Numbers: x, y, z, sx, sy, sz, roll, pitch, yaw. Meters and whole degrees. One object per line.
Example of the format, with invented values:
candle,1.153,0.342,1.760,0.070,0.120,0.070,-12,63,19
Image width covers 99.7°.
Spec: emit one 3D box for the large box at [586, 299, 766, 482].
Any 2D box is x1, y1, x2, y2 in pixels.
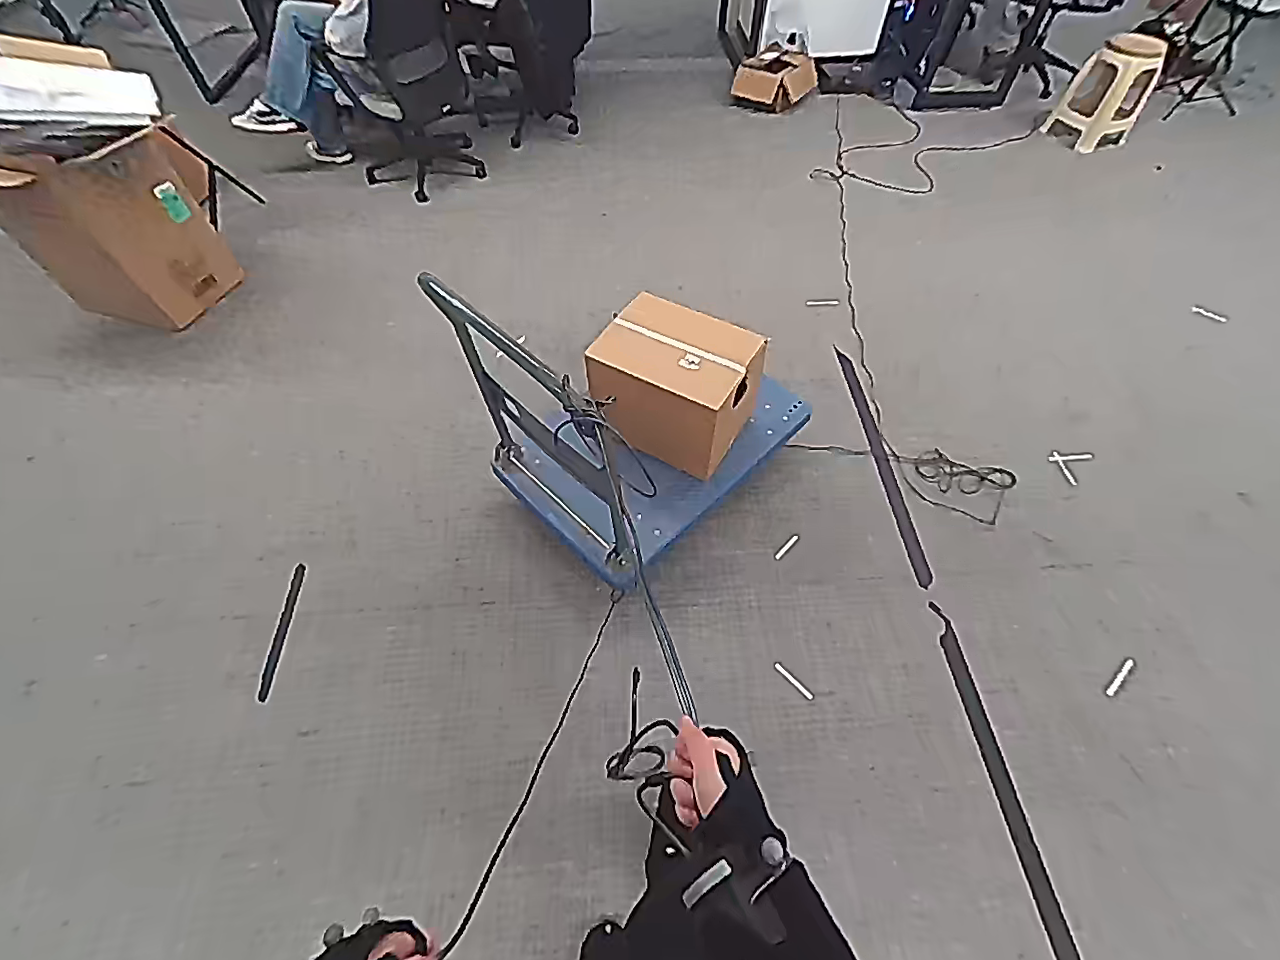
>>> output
large box,0.097,-0.261,1.578,0.408,0.320,0.320,26,60,17
